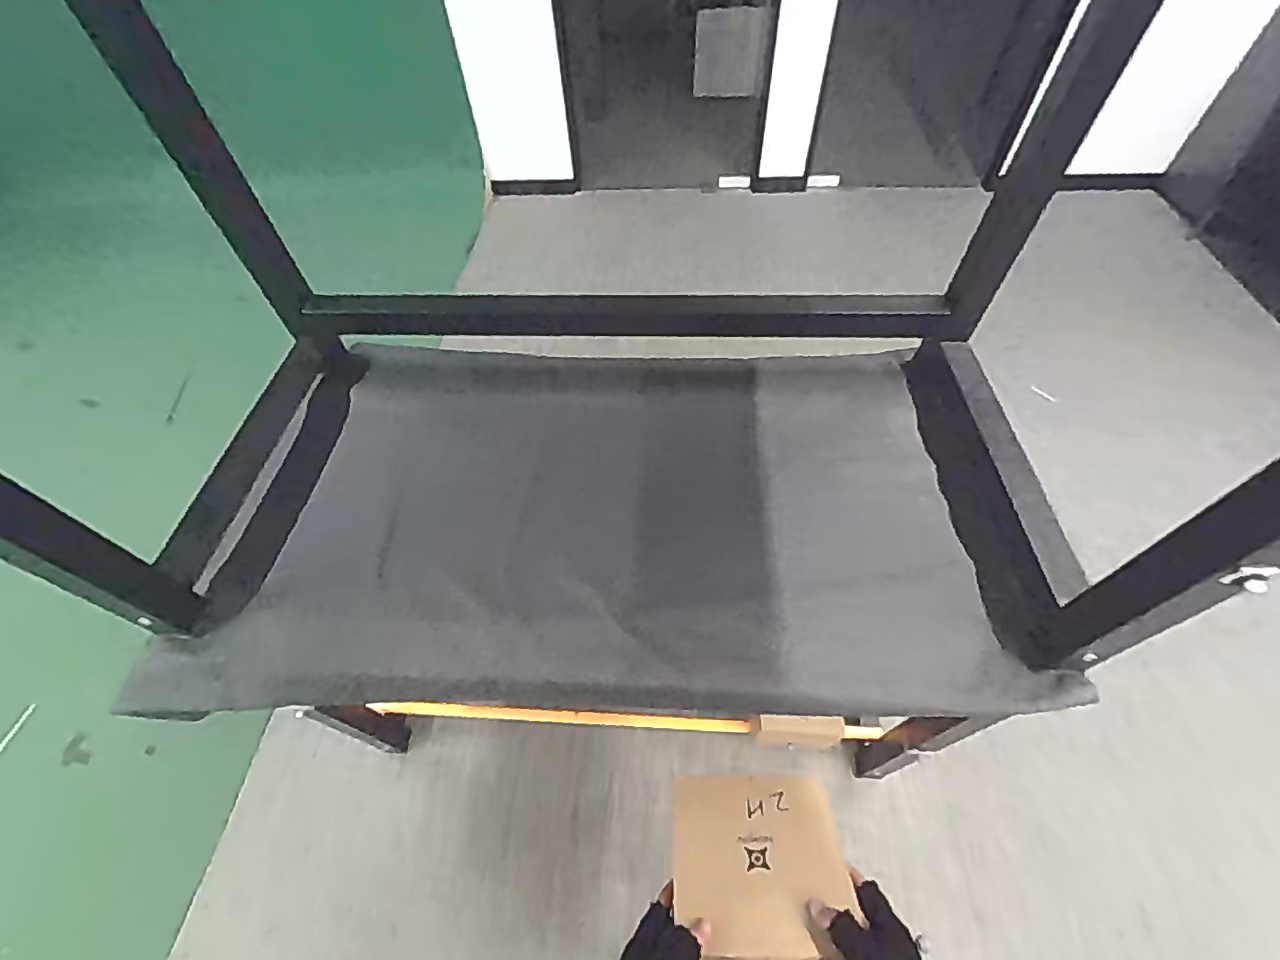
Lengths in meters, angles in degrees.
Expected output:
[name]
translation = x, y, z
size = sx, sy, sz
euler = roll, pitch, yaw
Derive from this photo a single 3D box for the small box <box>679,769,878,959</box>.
[small box]
translation = 0.126, 0.430, 0.551
size = 0.168, 0.176, 0.179
euler = -2, 22, 4
